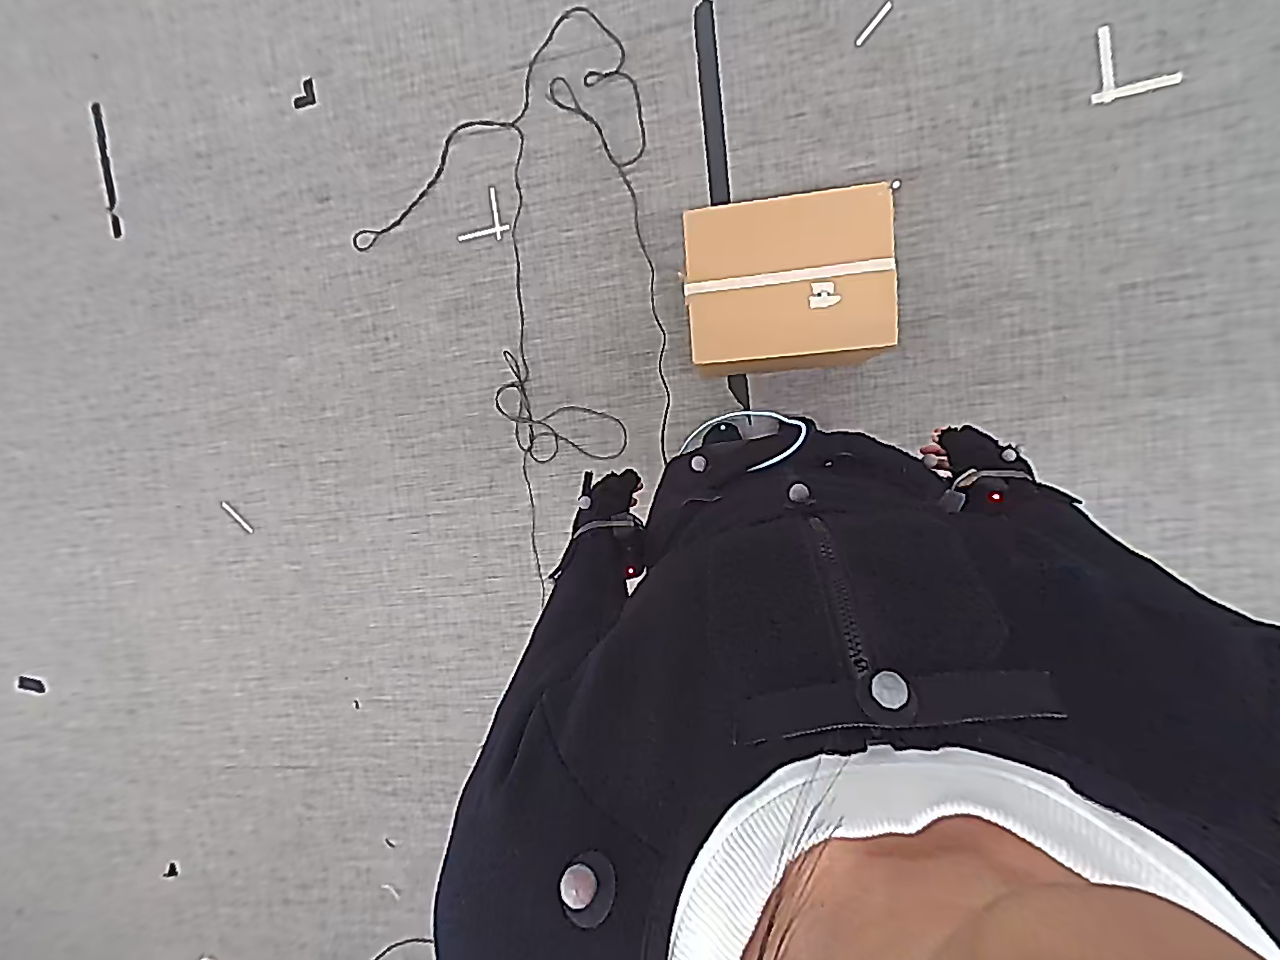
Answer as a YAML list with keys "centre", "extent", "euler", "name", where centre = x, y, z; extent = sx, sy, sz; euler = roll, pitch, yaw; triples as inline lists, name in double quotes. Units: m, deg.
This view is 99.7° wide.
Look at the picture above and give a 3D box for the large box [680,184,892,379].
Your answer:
- centre: [0.312, -0.420, 1.237]
  extent: [0.408, 0.320, 0.320]
  euler: [-4, 95, 9]
  name: "large box"
